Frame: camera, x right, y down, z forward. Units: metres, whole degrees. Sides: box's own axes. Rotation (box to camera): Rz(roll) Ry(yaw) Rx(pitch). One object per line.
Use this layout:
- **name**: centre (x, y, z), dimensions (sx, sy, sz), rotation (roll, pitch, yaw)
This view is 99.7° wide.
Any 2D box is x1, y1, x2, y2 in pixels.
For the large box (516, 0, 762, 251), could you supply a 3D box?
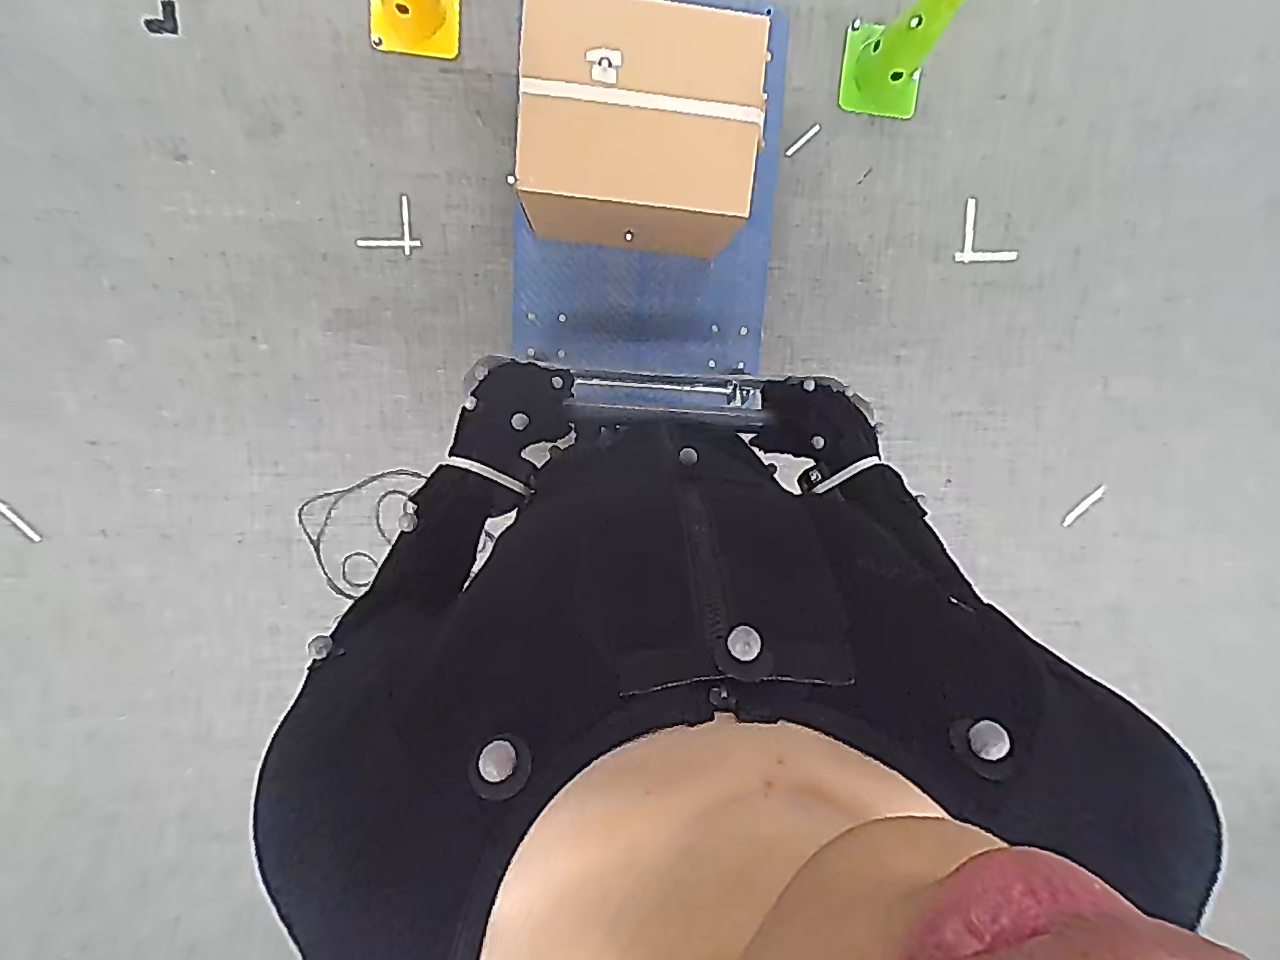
- **large box**: centre (-0.010, -0.655, 1.056), dimensions (0.408, 0.320, 0.320), rotation (4, 99, -4)

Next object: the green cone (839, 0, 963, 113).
- **green cone**: centre (0.618, -1.009, 1.186), dimensions (0.202, 0.368, 0.200), rotation (4, 99, -6)
